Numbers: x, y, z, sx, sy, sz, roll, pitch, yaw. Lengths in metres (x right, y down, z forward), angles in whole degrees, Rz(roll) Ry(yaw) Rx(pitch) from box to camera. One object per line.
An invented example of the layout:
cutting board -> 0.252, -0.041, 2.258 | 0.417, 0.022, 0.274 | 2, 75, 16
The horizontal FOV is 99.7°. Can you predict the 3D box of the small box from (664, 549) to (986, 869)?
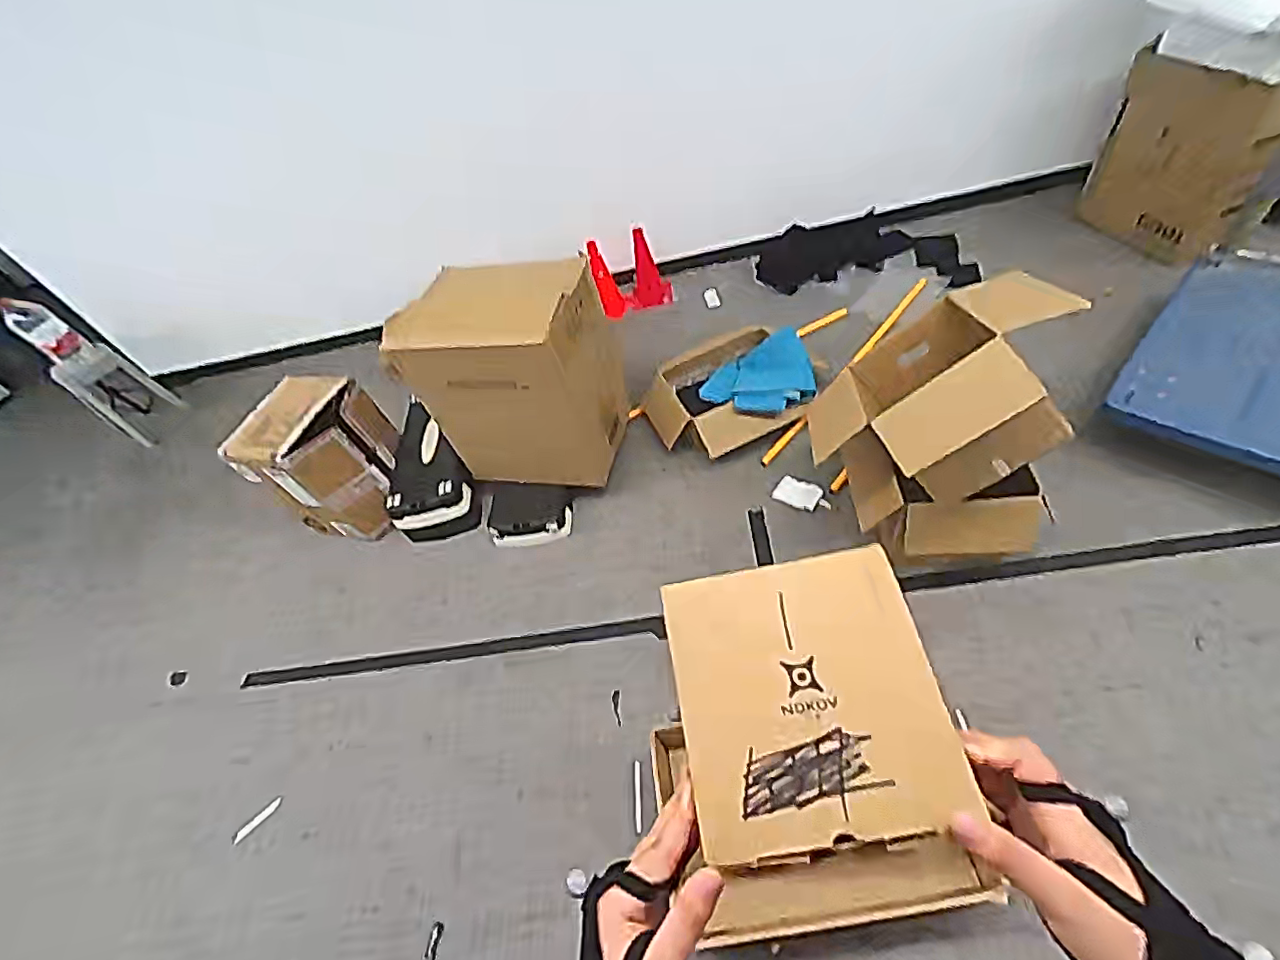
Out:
small box -> 0.119, 0.175, 0.417 | 0.168, 0.176, 0.179 | -10, 59, 4
